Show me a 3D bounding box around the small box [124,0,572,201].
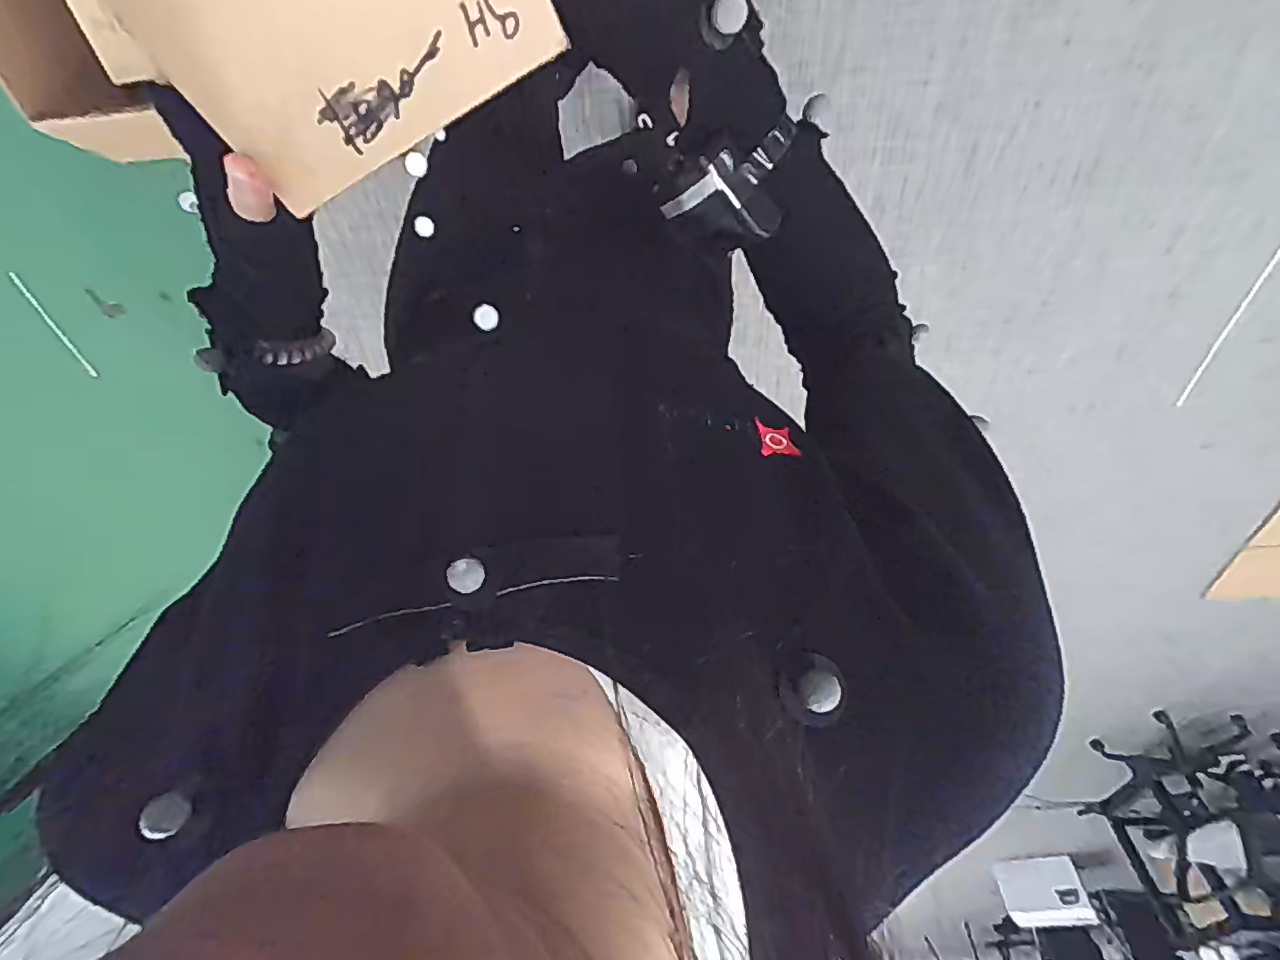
[{"bbox_3d":[-0.154,-0.281,0.271,0.168,0.176,0.179,-26,132,8],"label":"small box"}]
